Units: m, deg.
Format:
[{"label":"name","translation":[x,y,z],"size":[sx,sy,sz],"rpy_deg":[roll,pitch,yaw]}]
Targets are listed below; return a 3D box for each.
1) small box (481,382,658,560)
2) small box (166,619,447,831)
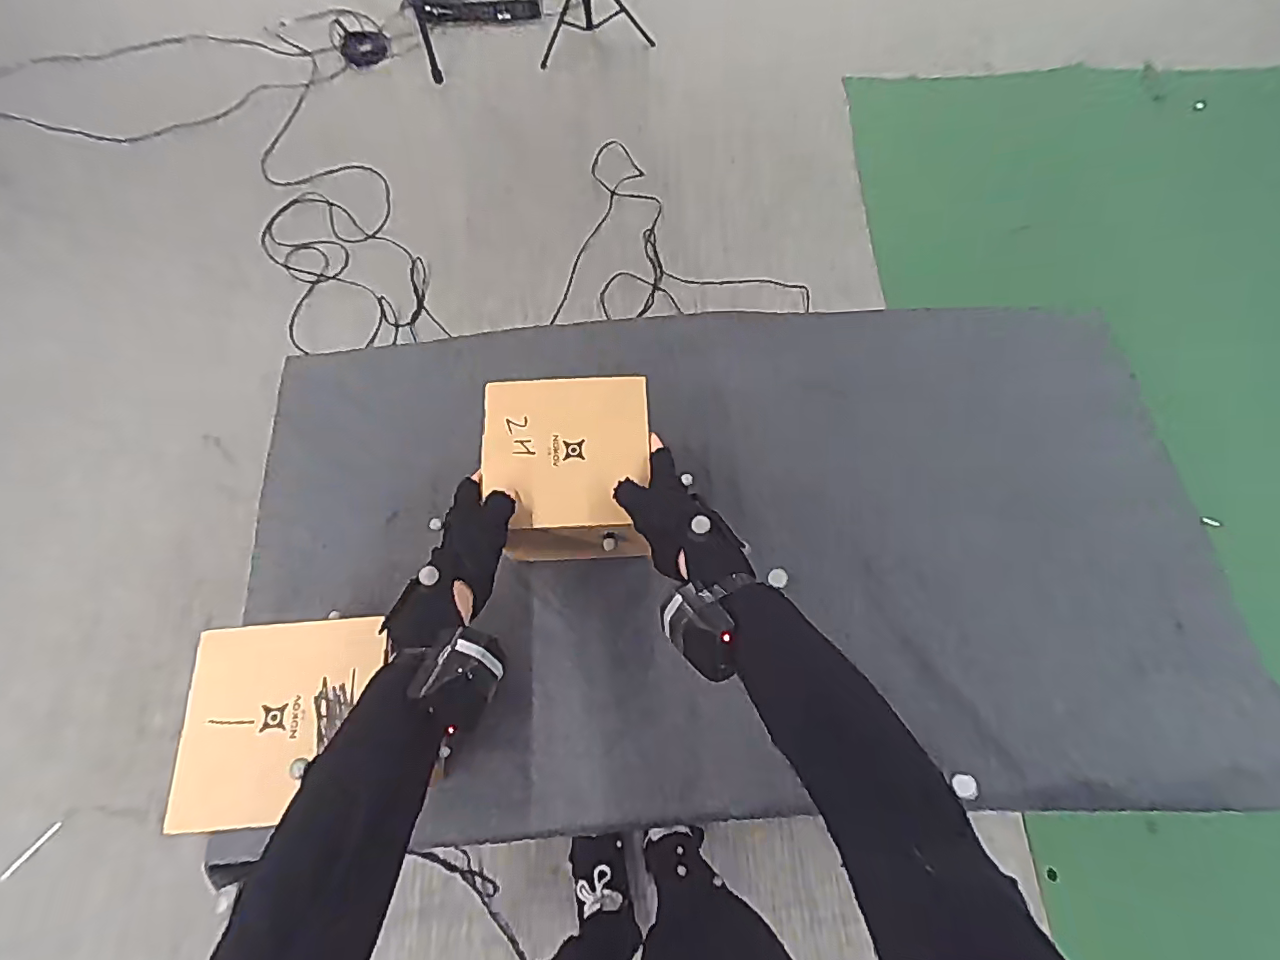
[{"label":"small box","translation":[-0.073,-0.002,0.634],"size":[0.179,0.176,0.168],"rpy_deg":[-2,71,-1]},{"label":"small box","translation":[-0.310,0.235,0.549],"size":[0.179,0.176,0.168],"rpy_deg":[-4,70,-1]}]
